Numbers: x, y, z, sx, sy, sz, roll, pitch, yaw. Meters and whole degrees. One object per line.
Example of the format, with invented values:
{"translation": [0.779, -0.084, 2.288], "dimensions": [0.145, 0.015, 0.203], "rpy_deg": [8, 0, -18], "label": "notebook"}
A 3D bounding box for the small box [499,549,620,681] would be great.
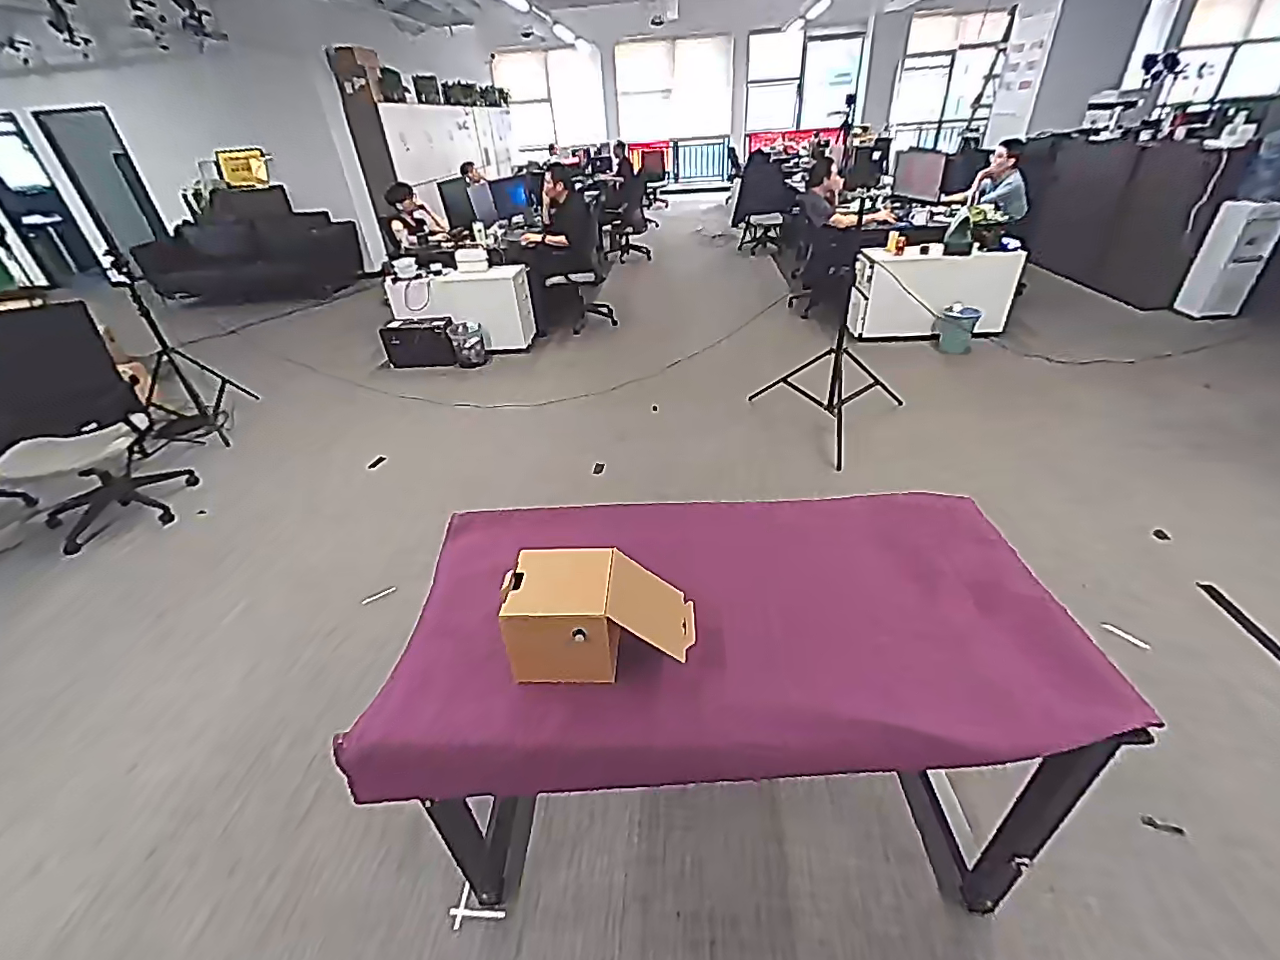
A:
{"translation": [-0.131, 0.241, 0.968], "dimensions": [0.179, 0.176, 0.168], "rpy_deg": [-2, 32, 4], "label": "small box"}
